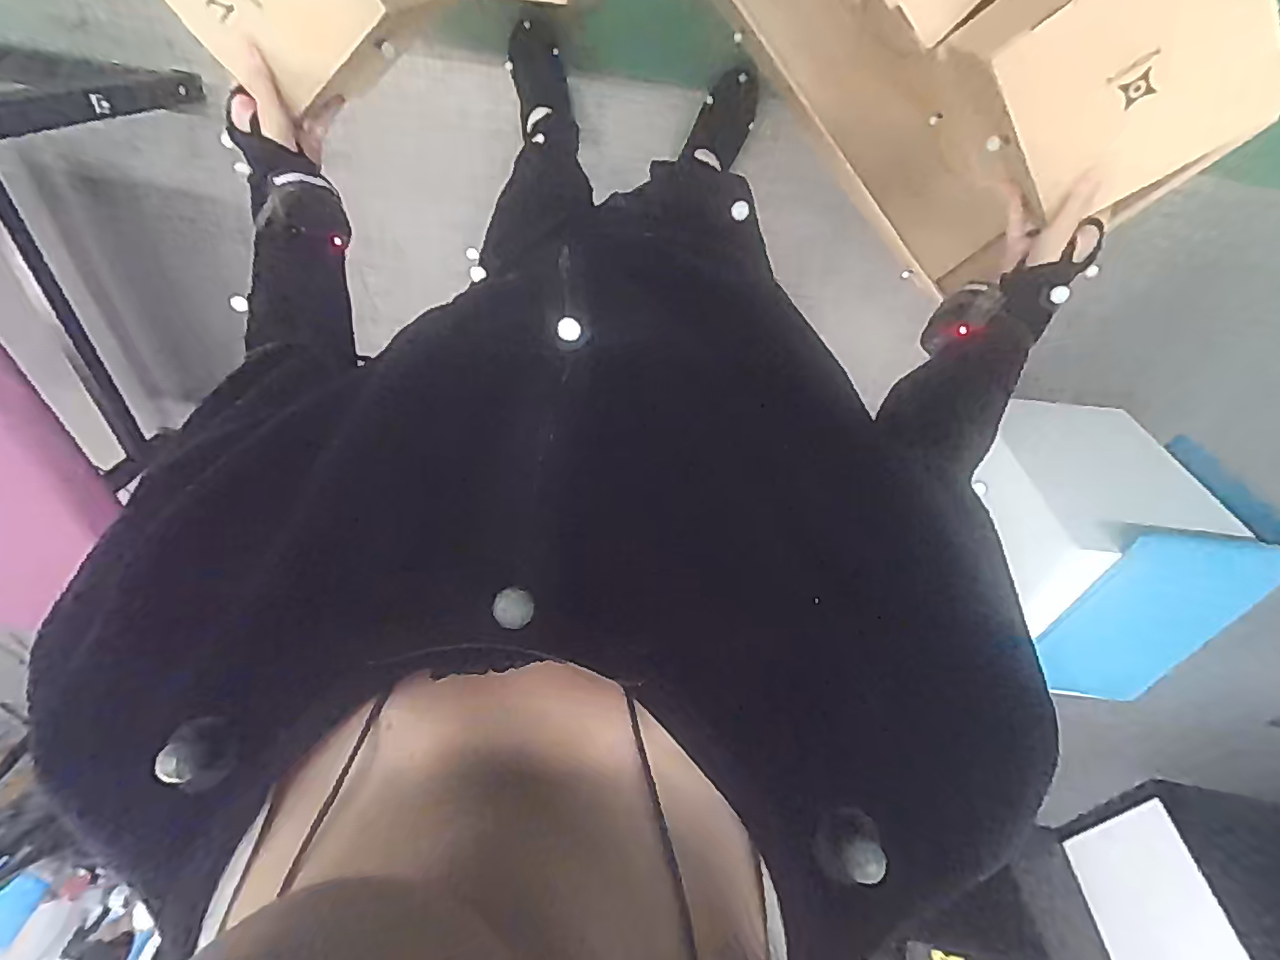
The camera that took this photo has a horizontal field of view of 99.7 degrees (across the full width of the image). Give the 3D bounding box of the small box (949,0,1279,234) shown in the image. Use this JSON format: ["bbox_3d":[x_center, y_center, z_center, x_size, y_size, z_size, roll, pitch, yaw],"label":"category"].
[{"bbox_3d":[0.413,-0.371,0.493,0.168,0.176,0.179,-27,119,34],"label":"small box"}]

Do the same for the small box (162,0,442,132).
[{"bbox_3d":[-0.315,-0.478,0.507,0.179,0.176,0.168,-19,128,28],"label":"small box"}]
